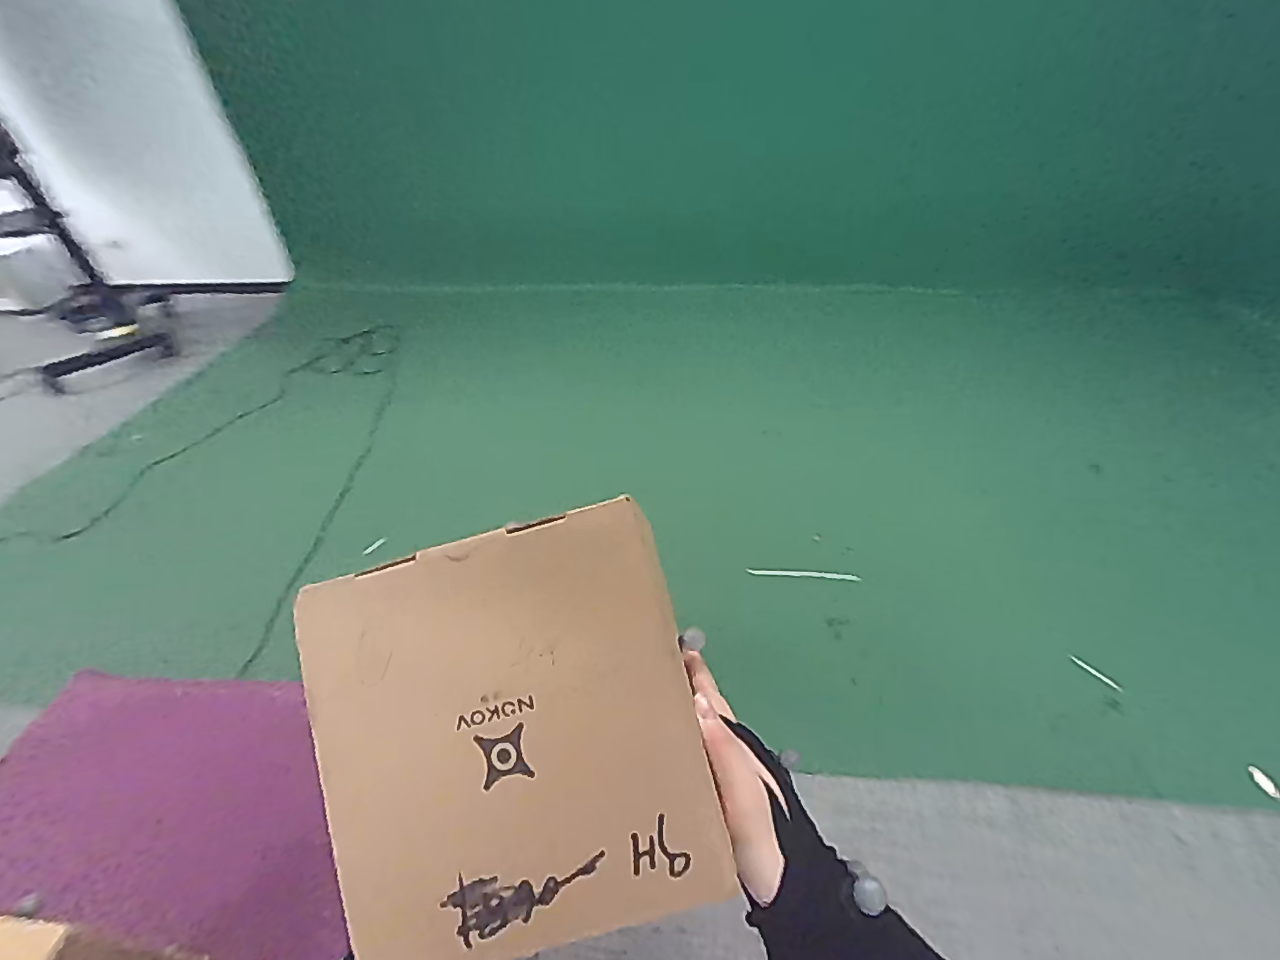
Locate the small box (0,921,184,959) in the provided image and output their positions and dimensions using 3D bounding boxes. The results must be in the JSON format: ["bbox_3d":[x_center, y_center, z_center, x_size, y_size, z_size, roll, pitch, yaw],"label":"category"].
[{"bbox_3d":[-0.471,0.418,0.367,0.179,0.176,0.168,1,42,4],"label":"small box"}]

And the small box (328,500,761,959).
[{"bbox_3d":[-0.044,0.125,0.318,0.168,0.176,0.179,-16,80,2],"label":"small box"}]
